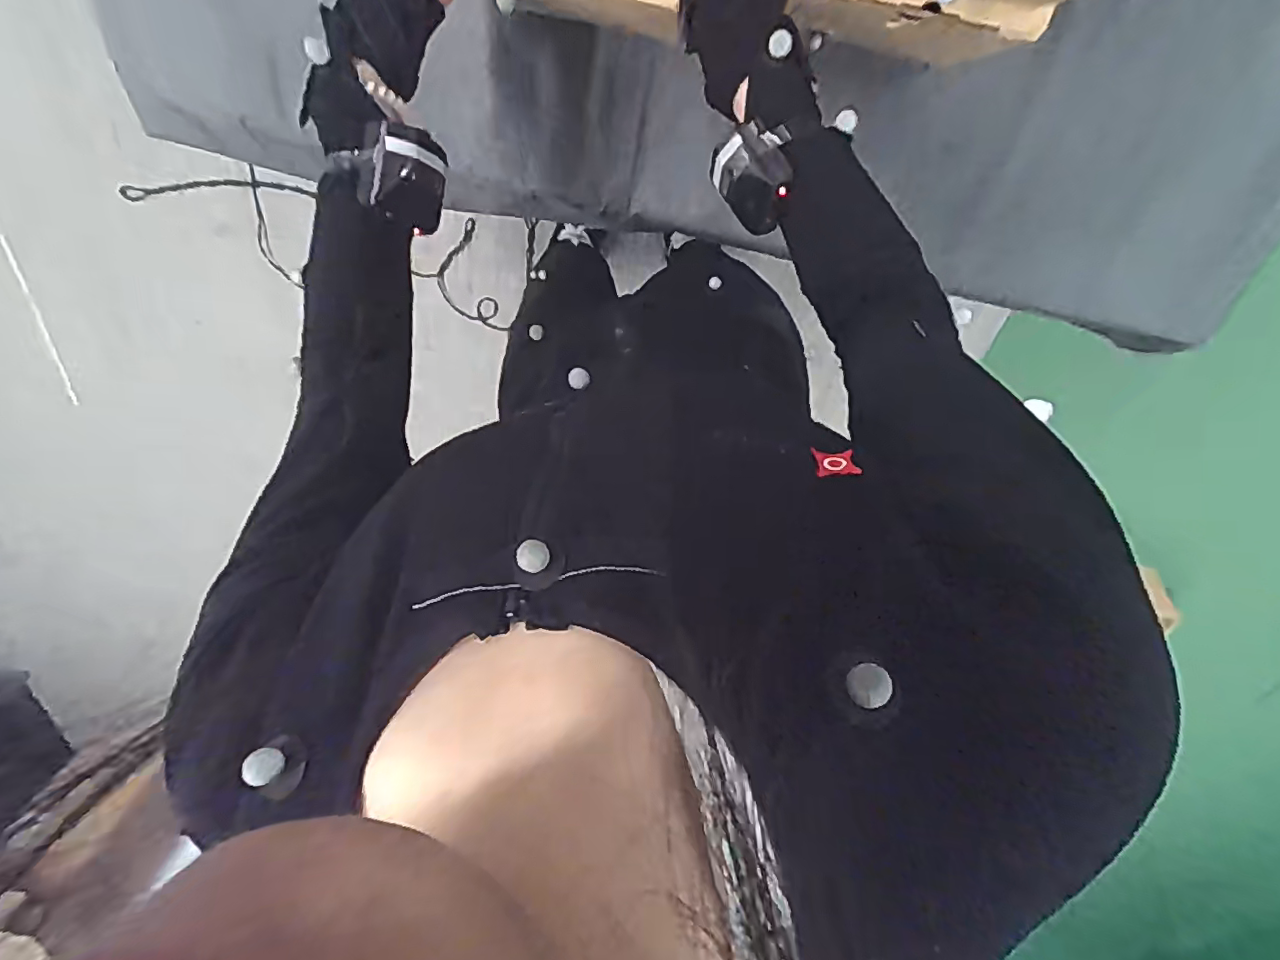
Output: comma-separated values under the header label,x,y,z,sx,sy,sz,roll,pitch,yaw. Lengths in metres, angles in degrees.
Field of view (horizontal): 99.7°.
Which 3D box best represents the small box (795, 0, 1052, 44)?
label,x,y,z,sx,sy,sz,roll,pitch,yaw
small box,0.218,-0.443,0.389,0.168,0.176,0.179,10,123,-2
